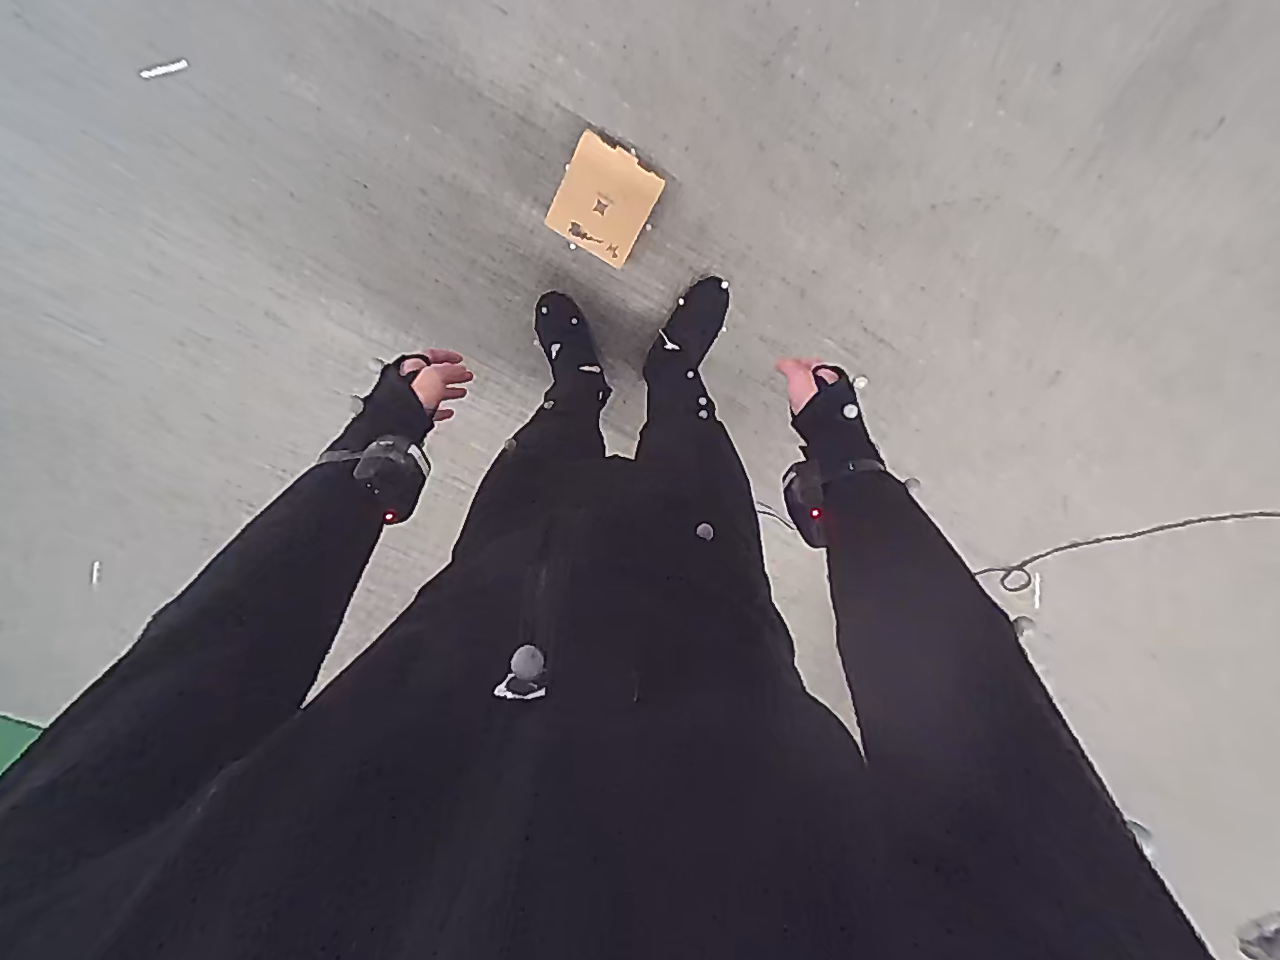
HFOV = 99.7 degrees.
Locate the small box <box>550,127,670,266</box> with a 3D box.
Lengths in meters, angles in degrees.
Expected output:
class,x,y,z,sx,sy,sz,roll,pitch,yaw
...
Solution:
class,x,y,z,sx,sy,sz,roll,pitch,yaw
small box,-0.056,-0.549,1.060,0.168,0.176,0.179,29,115,-11
